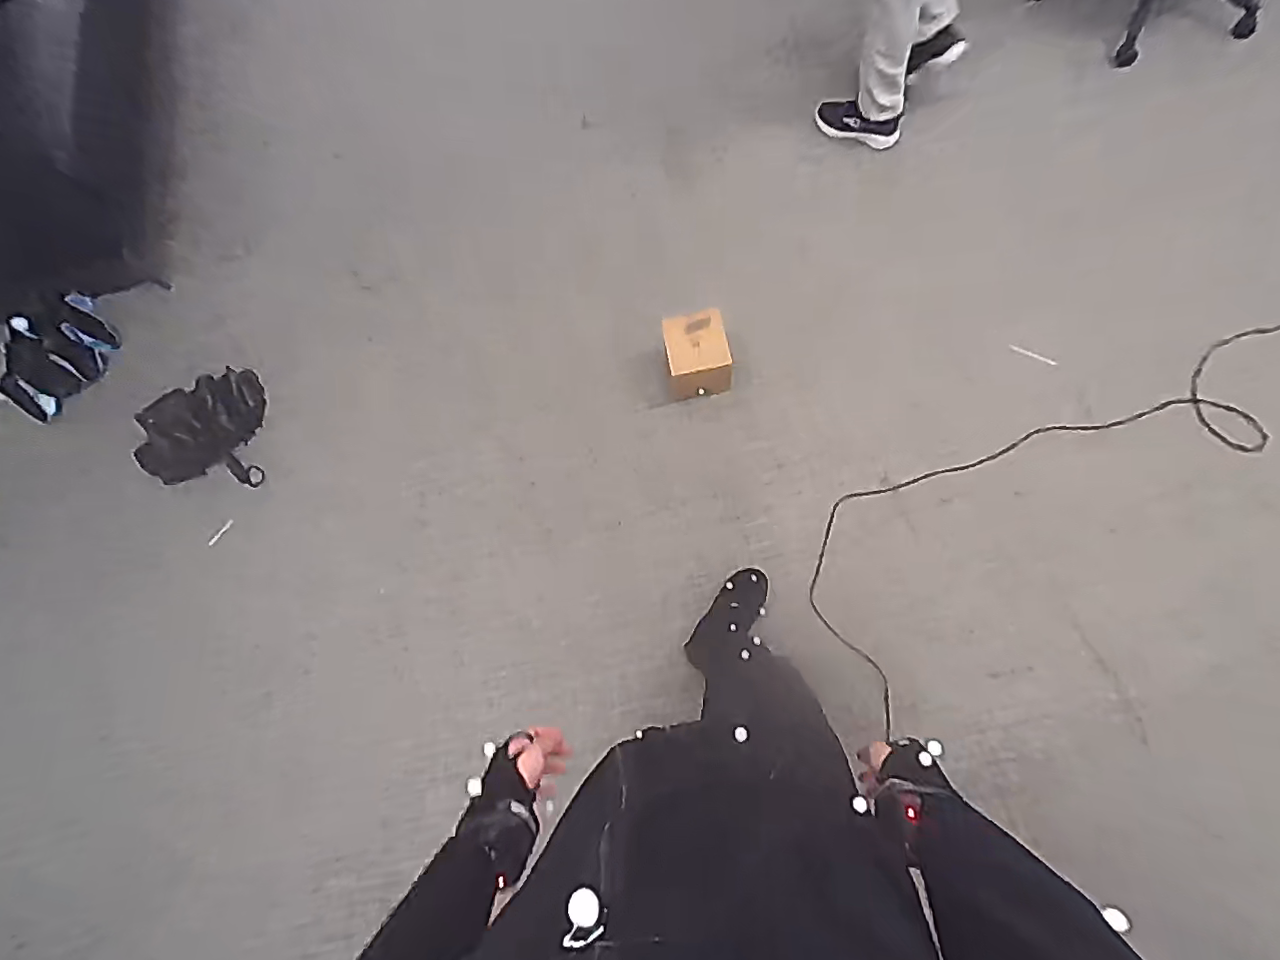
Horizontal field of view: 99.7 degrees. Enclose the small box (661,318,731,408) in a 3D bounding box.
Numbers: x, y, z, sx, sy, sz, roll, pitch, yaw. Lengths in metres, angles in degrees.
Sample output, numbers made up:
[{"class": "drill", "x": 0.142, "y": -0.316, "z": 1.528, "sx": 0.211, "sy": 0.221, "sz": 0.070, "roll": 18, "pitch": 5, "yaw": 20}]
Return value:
[{"class": "small box", "x": 0.160, "y": -0.329, "z": 1.542, "sx": 0.168, "sy": 0.176, "sz": 0.179, "roll": -12, "pitch": 73, "yaw": 5}]
